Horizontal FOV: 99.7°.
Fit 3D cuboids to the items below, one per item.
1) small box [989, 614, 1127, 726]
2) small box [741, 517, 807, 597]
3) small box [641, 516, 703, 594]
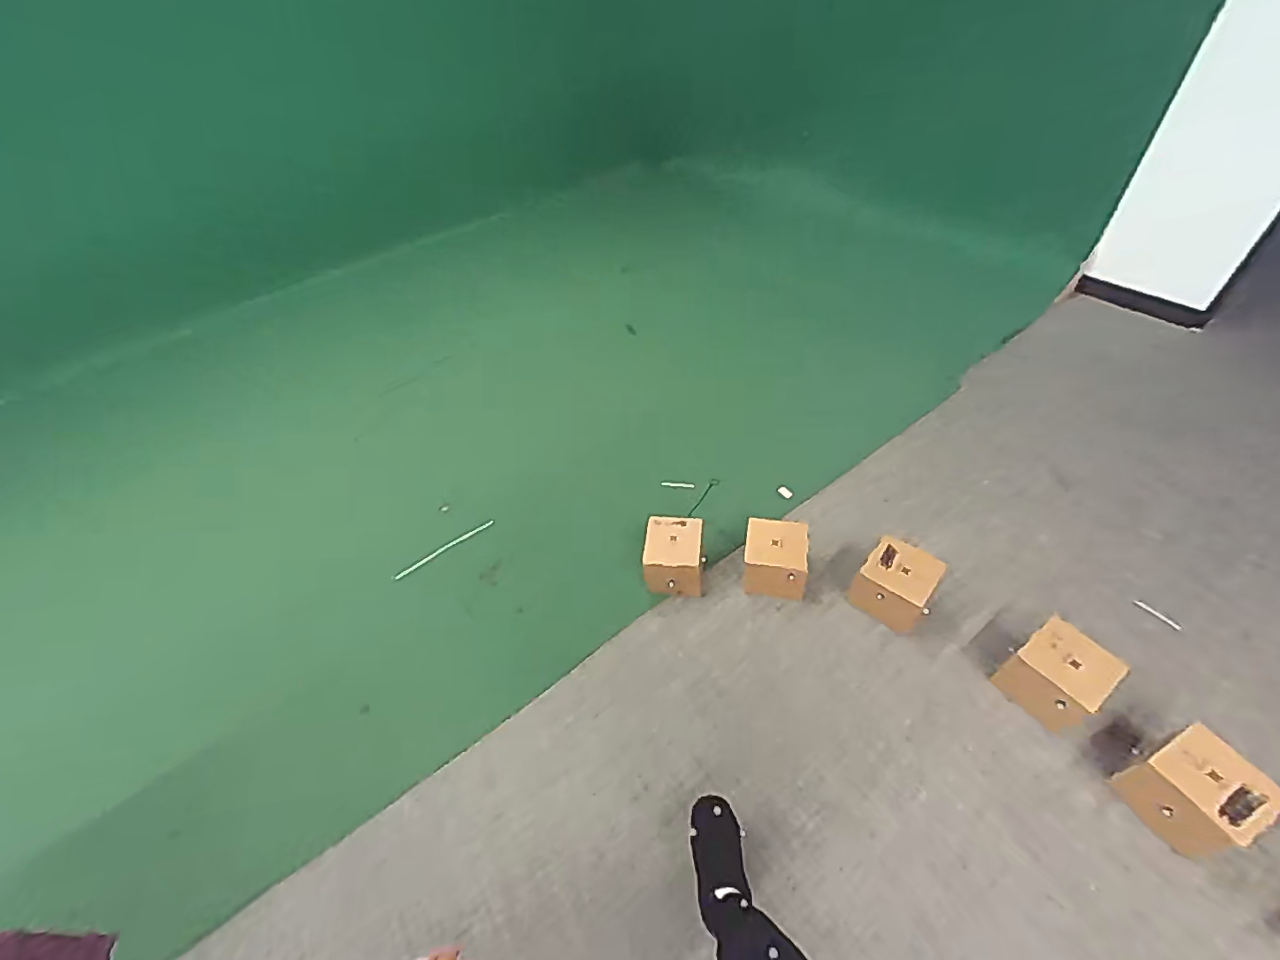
[{"bbox_3d":[1.003,0.469,1.312,0.168,0.176,0.179,-31,52,-19],"label":"small box"},{"bbox_3d":[0.398,0.233,1.616,0.179,0.176,0.168,6,49,13],"label":"small box"},{"bbox_3d":[0.103,0.232,1.657,0.168,0.176,0.179,2,49,10],"label":"small box"}]
